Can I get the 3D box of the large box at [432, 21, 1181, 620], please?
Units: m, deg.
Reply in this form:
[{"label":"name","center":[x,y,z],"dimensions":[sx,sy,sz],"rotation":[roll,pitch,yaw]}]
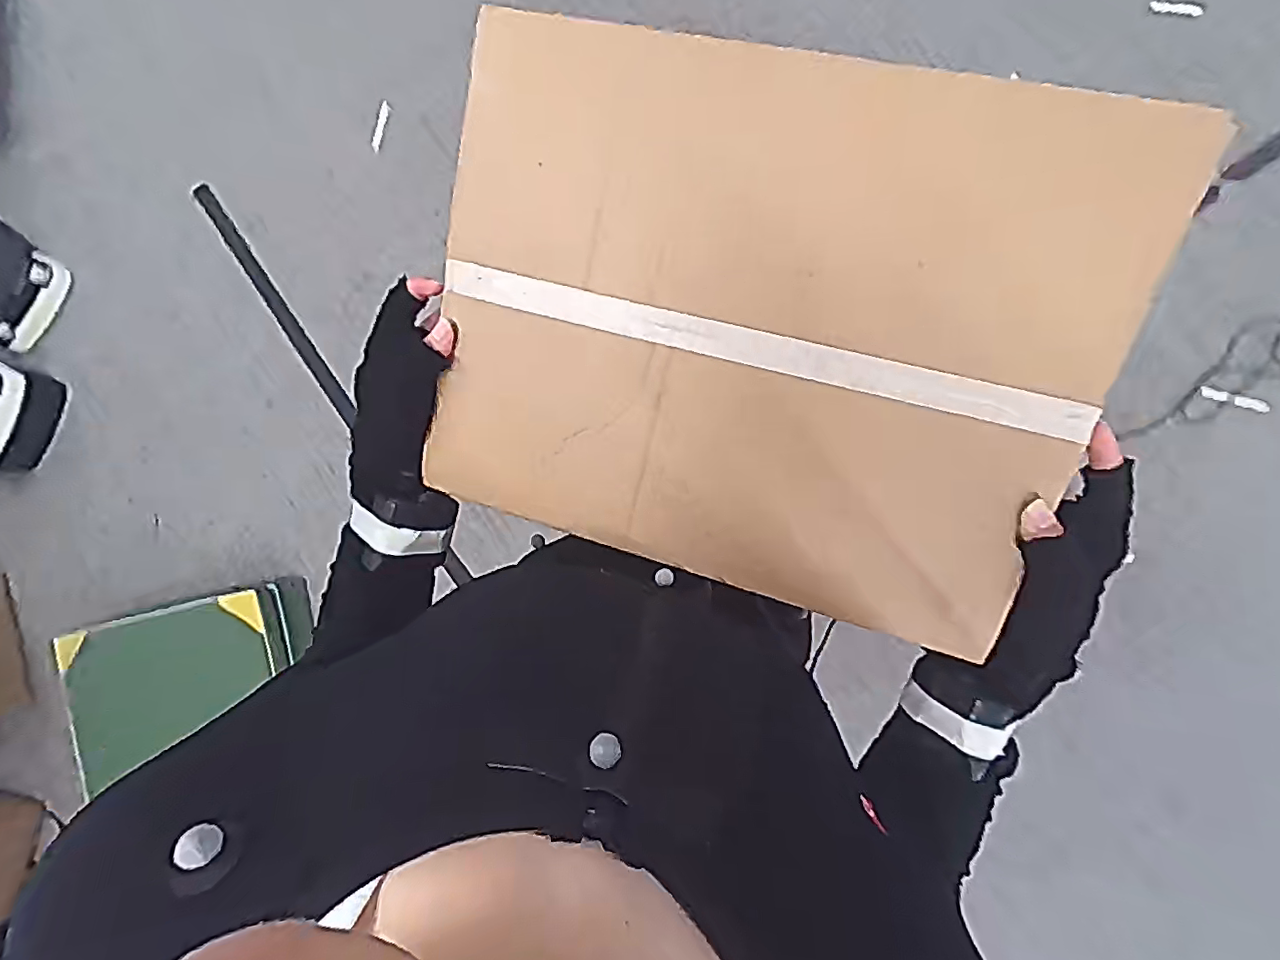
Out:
[{"label":"large box","center":[0.090,-0.131,0.484],"dimensions":[0.408,0.320,0.320],"rotation":[15,105,10]}]
